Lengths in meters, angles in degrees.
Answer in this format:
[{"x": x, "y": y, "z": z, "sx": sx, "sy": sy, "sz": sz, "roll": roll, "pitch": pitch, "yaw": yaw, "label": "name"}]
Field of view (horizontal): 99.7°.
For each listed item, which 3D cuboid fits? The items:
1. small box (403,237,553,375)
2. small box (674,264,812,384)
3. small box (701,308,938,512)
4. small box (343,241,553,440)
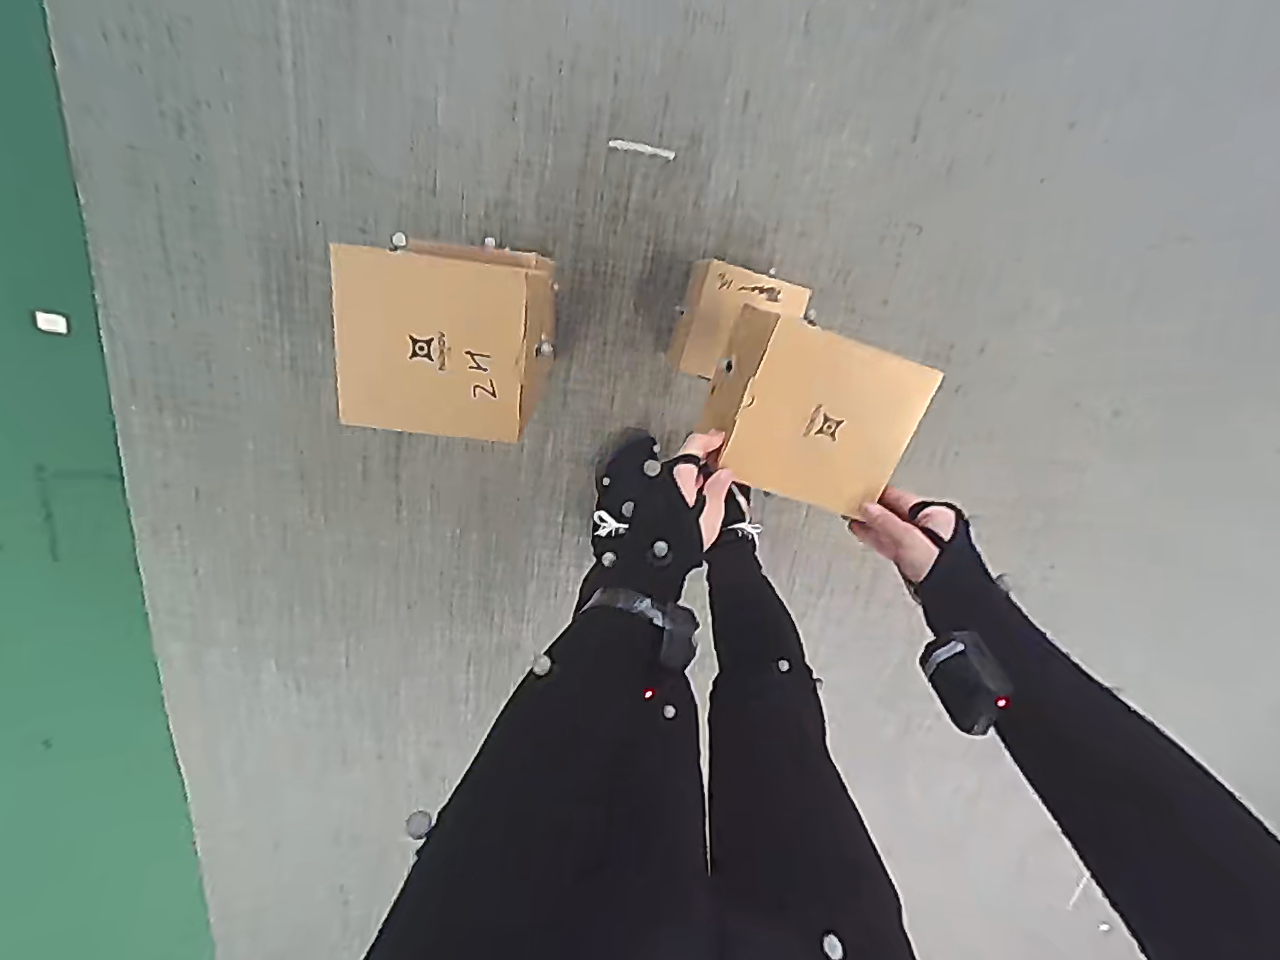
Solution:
[{"x": -0.212, "y": -0.220, "z": 0.739, "sx": 0.168, "sy": 0.176, "sz": 0.179, "roll": 5, "pitch": 108, "yaw": -6, "label": "small box"}, {"x": 0.162, "y": -0.257, "z": 0.926, "sx": 0.168, "sy": 0.176, "sz": 0.179, "roll": 14, "pitch": 109, "yaw": -9, "label": "small box"}, {"x": 0.184, "y": -0.089, "z": 0.614, "sx": 0.179, "sy": 0.176, "sz": 0.168, "roll": 17, "pitch": 109, "yaw": -7, "label": "small box"}, {"x": -0.196, "y": -0.152, "z": 0.589, "sx": 0.179, "sy": 0.176, "sz": 0.168, "roll": 6, "pitch": 109, "yaw": -7, "label": "small box"}]
